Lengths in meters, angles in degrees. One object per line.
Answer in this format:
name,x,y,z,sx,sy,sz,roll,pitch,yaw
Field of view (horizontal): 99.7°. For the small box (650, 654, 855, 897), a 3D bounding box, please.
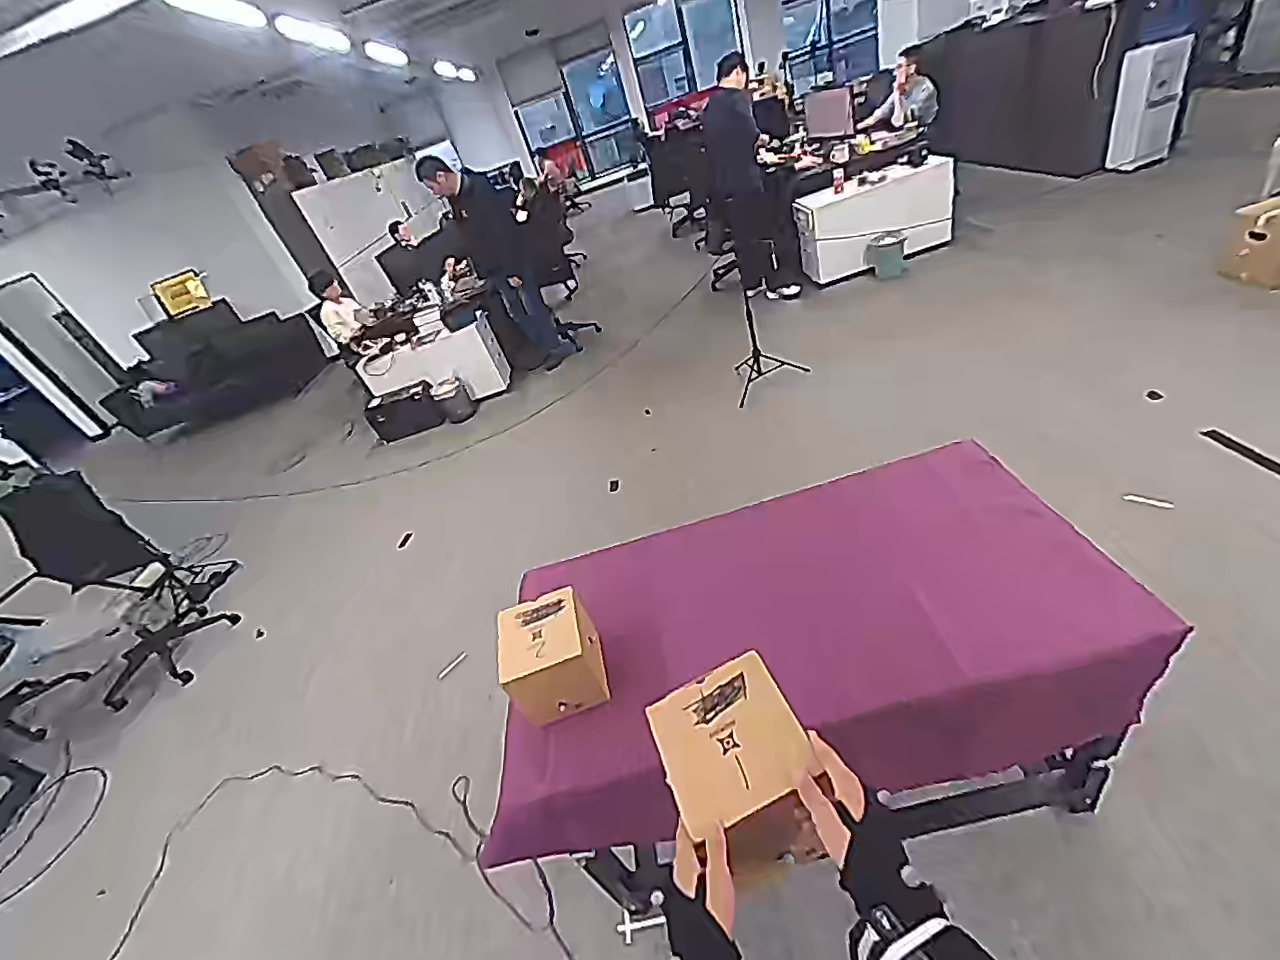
small box,0.136,0.362,0.671,0.168,0.176,0.179,-29,32,0
